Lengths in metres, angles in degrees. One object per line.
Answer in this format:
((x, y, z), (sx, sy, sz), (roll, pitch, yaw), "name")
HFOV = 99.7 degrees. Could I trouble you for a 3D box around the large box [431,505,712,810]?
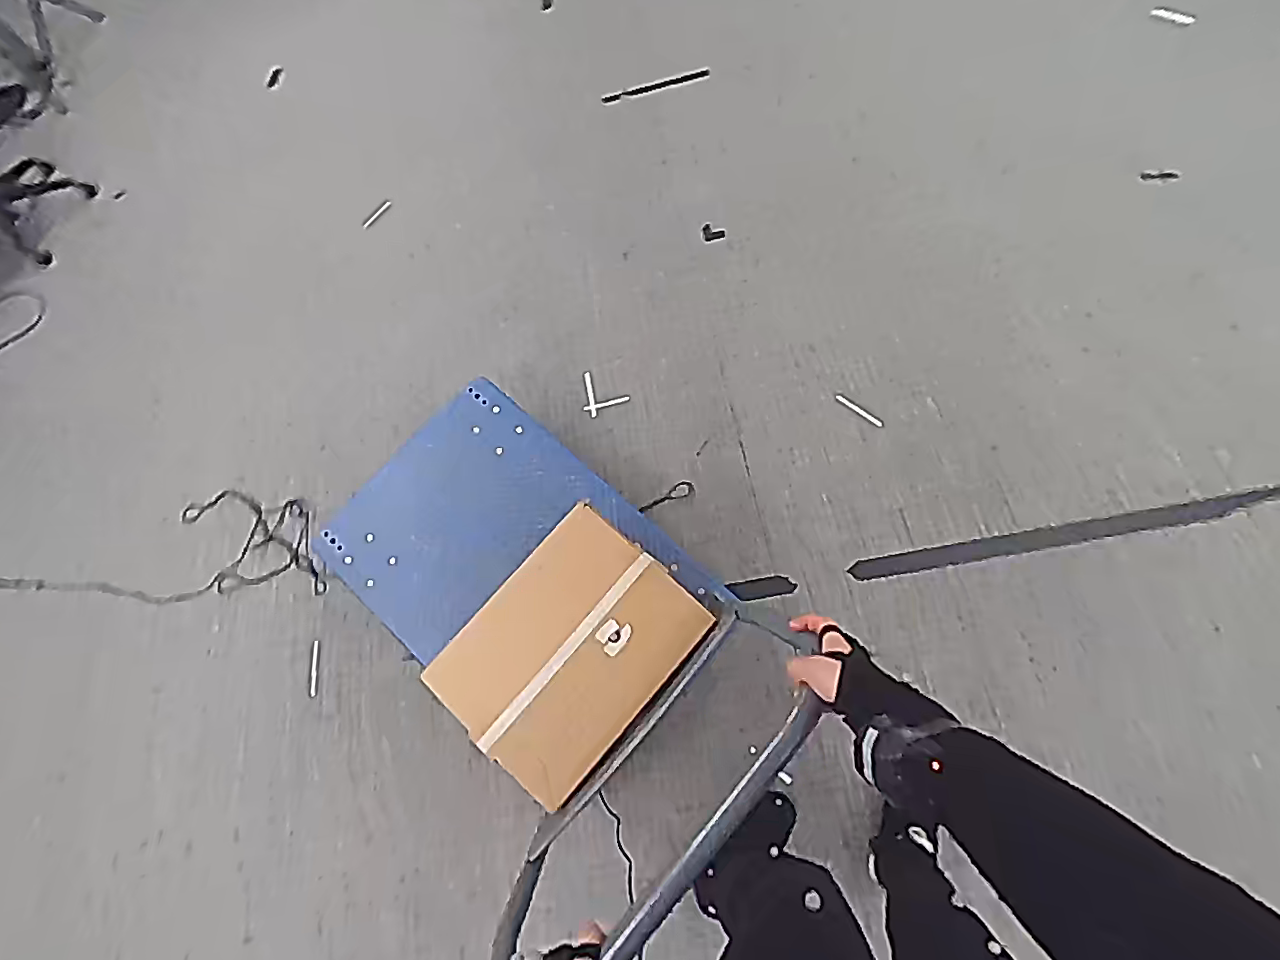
((-0.111, 0.322, 1.058), (0.320, 0.320, 0.408), (40, 81, 10), "large box")
